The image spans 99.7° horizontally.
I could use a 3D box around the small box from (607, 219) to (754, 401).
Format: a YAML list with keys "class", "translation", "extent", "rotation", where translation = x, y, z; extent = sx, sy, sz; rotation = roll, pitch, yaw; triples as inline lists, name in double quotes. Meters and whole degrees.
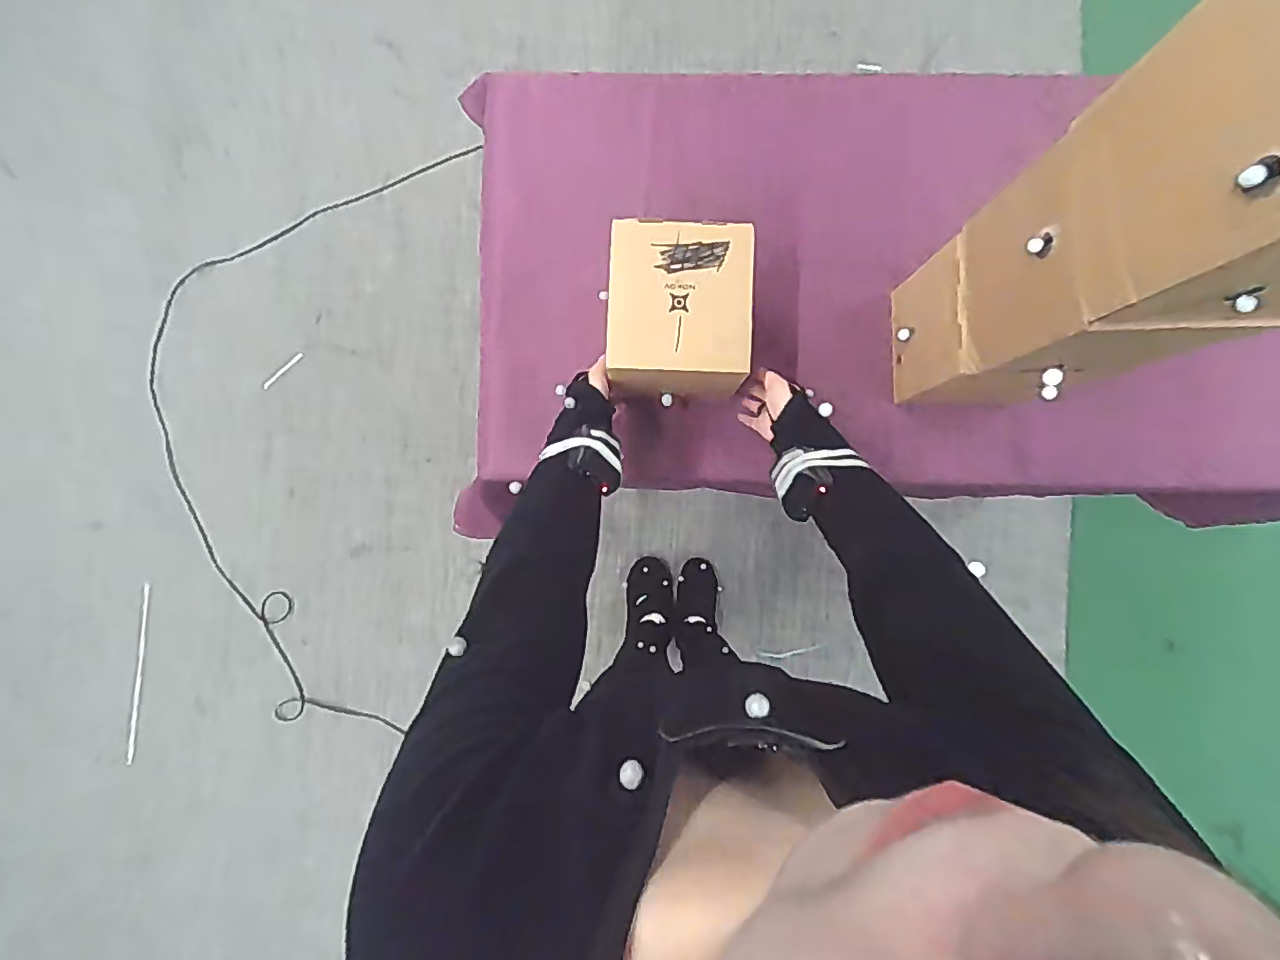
- class: "small box"
  translation: [0.047, -0.208, 0.702]
  extent: [0.168, 0.176, 0.179]
  rotation: [2, 87, 1]

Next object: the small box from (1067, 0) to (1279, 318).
- class: "small box"
  translation: [0.438, -0.228, 0.372]
  extent: [0.168, 0.176, 0.179]
  rotation: [-3, 87, 1]

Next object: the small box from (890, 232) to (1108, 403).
- class: "small box"
  translation: [0.446, -0.198, 0.696]
  extent: [0.179, 0.176, 0.168]
  rotation: [1, 86, 1]

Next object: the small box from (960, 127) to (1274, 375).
- class: "small box"
  translation: [0.443, -0.211, 0.533]
  extent: [0.168, 0.176, 0.179]
  rotation: [0, 87, 2]
